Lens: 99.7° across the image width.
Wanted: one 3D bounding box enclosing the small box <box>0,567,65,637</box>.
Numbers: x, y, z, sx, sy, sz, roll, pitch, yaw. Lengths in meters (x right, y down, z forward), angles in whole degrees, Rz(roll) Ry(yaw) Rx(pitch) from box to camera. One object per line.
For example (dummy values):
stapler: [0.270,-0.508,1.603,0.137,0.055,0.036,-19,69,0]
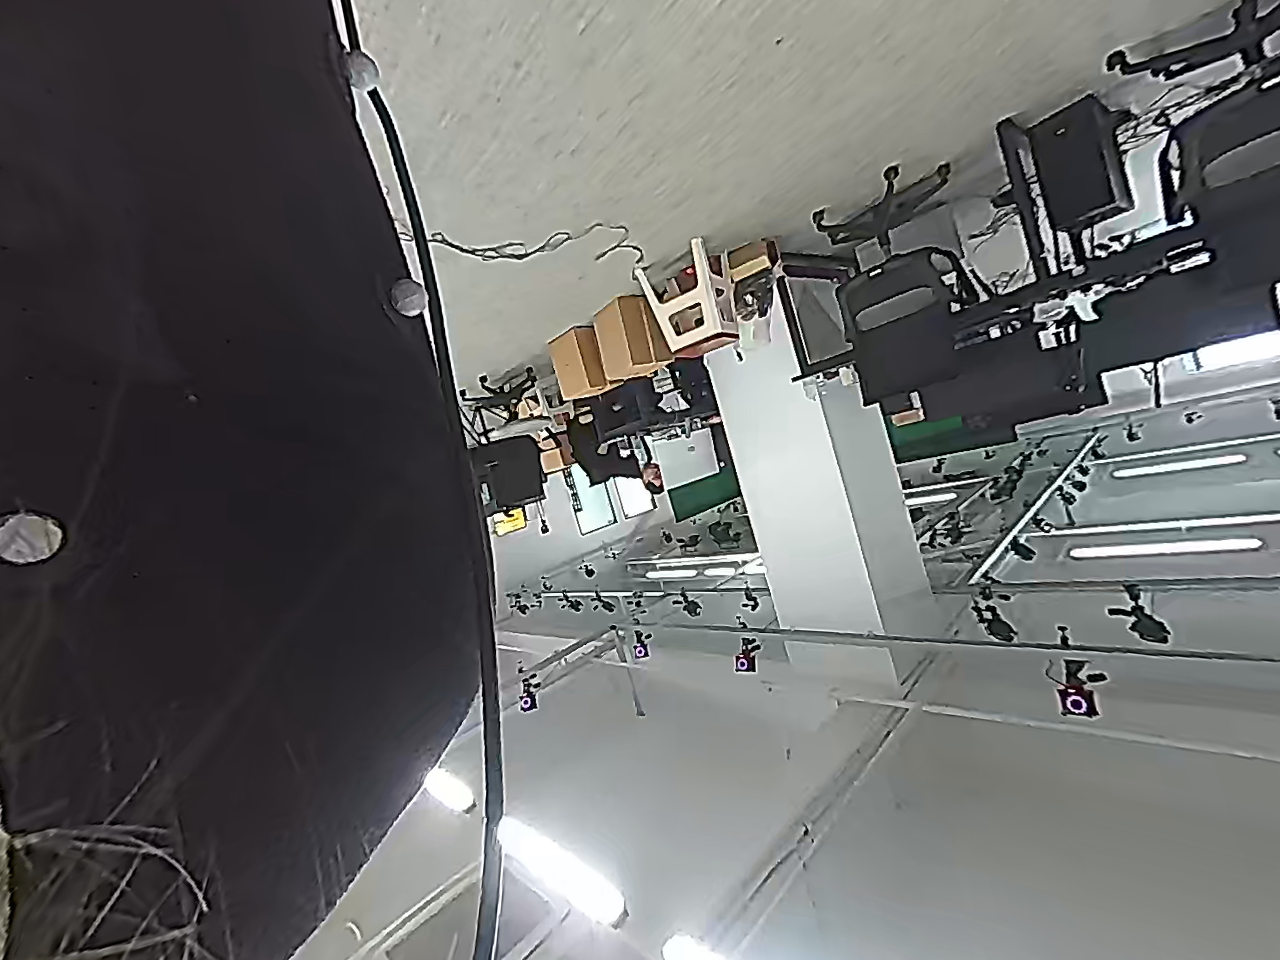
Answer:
small box: [-1.984,0.392,1.718,0.176,0.168,0.179,-13,-169,44]
